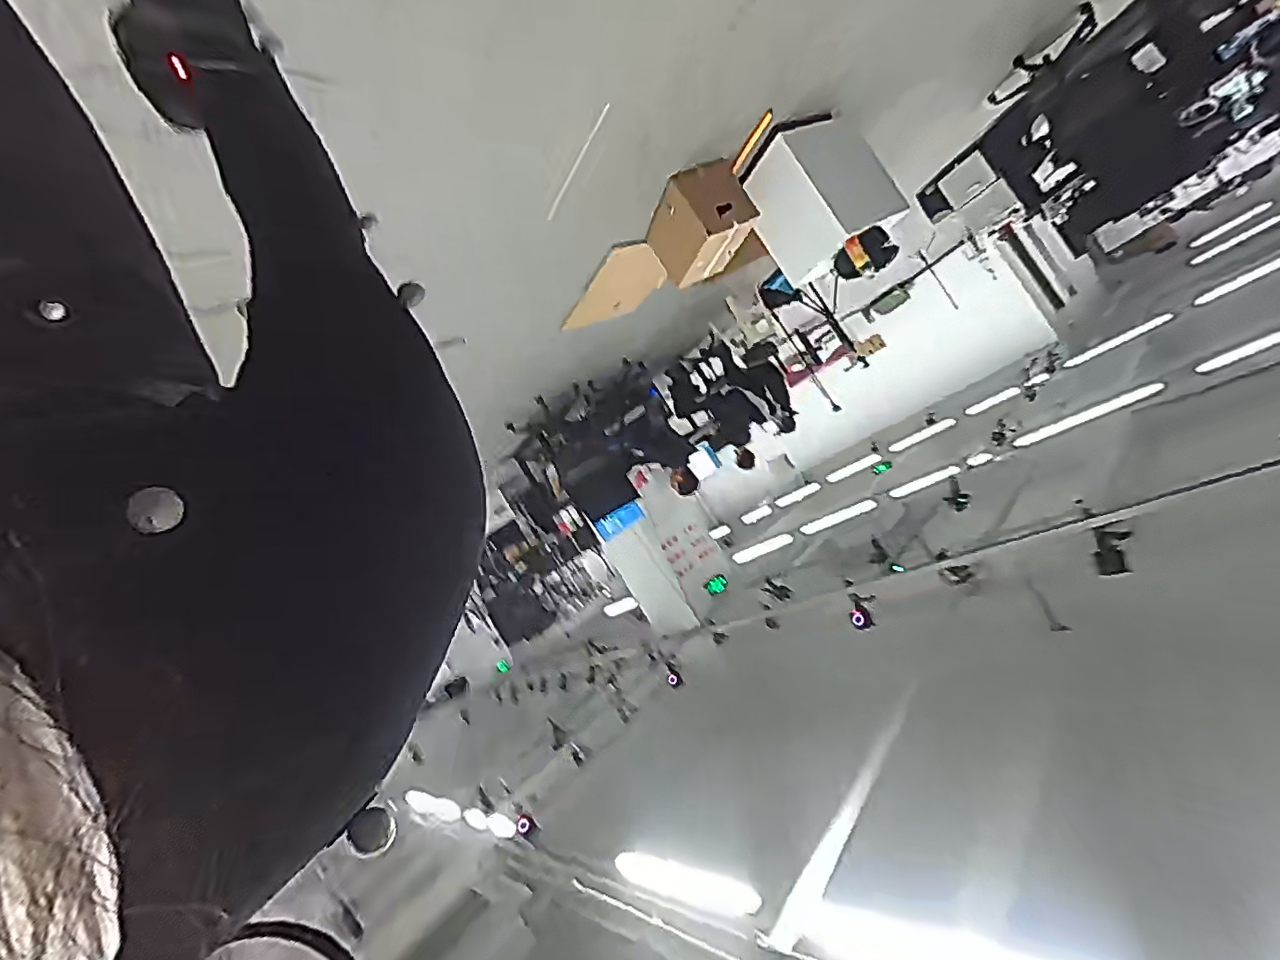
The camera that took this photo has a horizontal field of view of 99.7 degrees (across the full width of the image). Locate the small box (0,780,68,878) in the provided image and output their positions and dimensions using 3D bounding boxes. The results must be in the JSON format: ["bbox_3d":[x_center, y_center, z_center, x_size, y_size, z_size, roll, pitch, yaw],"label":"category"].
[{"bbox_3d":[-1.568,0.875,1.332,0.168,0.176,0.179,-36,174,39],"label":"small box"}]
